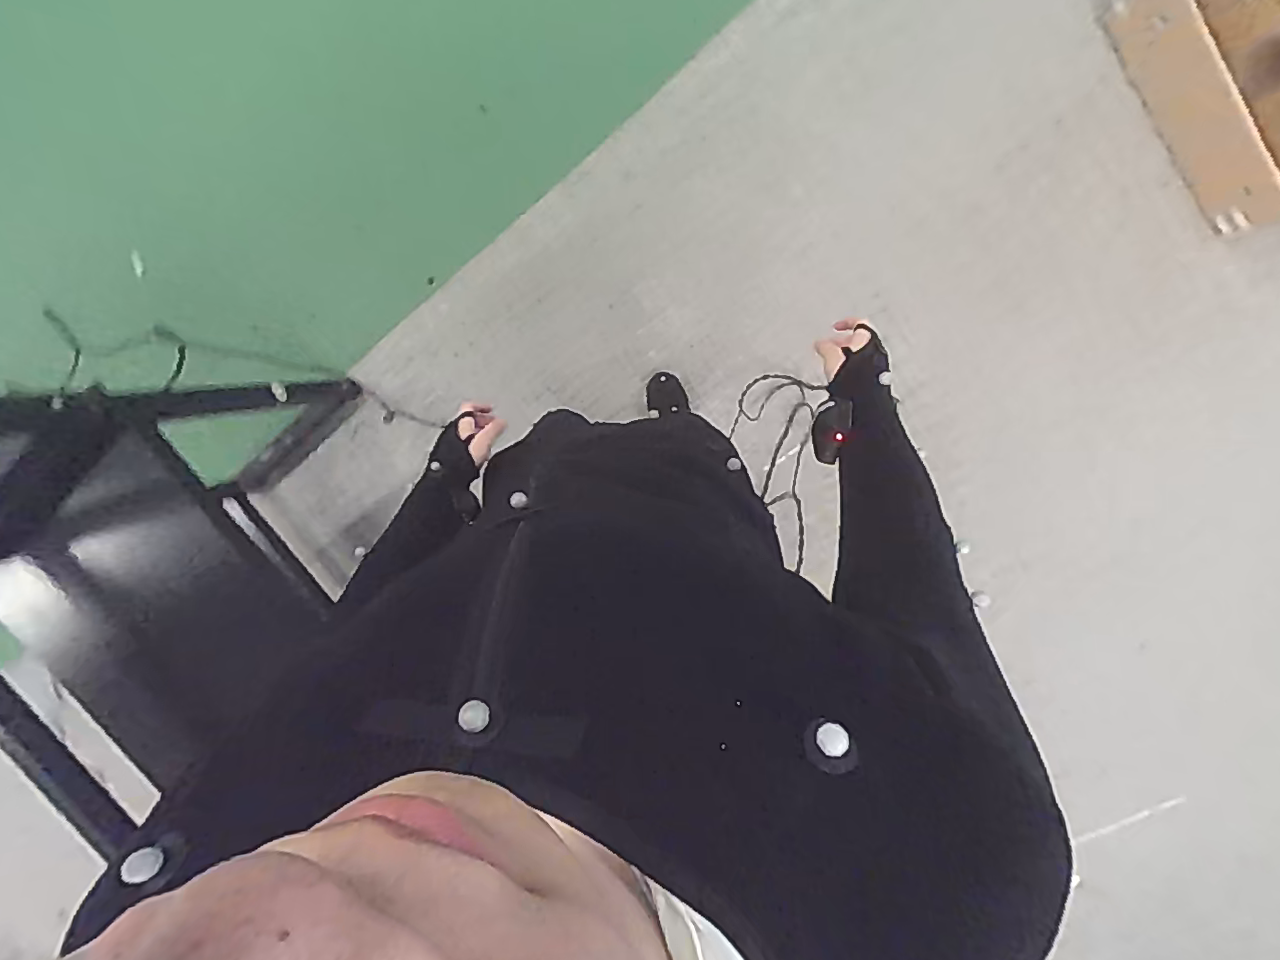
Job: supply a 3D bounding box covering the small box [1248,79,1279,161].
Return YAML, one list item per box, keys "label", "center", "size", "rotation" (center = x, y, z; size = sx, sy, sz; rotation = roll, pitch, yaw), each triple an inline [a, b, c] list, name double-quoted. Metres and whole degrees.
- label: "small box"
  center: [1.426, -0.782, 1.098]
  size: [0.168, 0.176, 0.179]
  rotation: [-30, 95, 14]
